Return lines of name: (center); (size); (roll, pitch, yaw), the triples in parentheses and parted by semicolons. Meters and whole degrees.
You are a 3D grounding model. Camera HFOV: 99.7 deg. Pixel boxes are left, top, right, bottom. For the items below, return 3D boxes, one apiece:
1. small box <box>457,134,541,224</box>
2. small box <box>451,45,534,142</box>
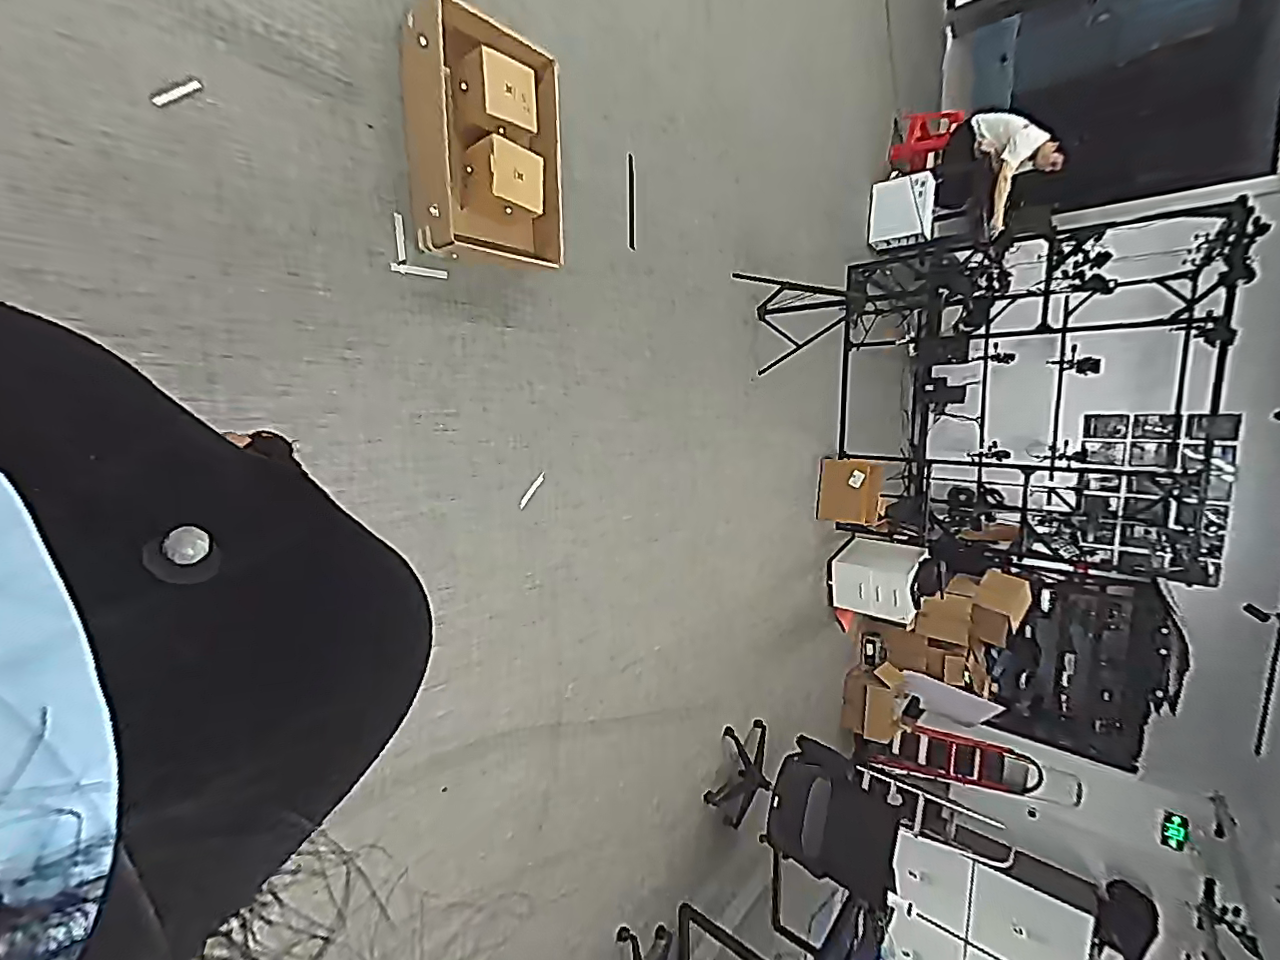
small box: (-0.416, -0.880, 1.604); (0.179, 0.176, 0.168); (-2, 96, -50)
small box: (-0.428, -1.092, 1.556); (0.179, 0.176, 0.168); (-13, 106, -49)
